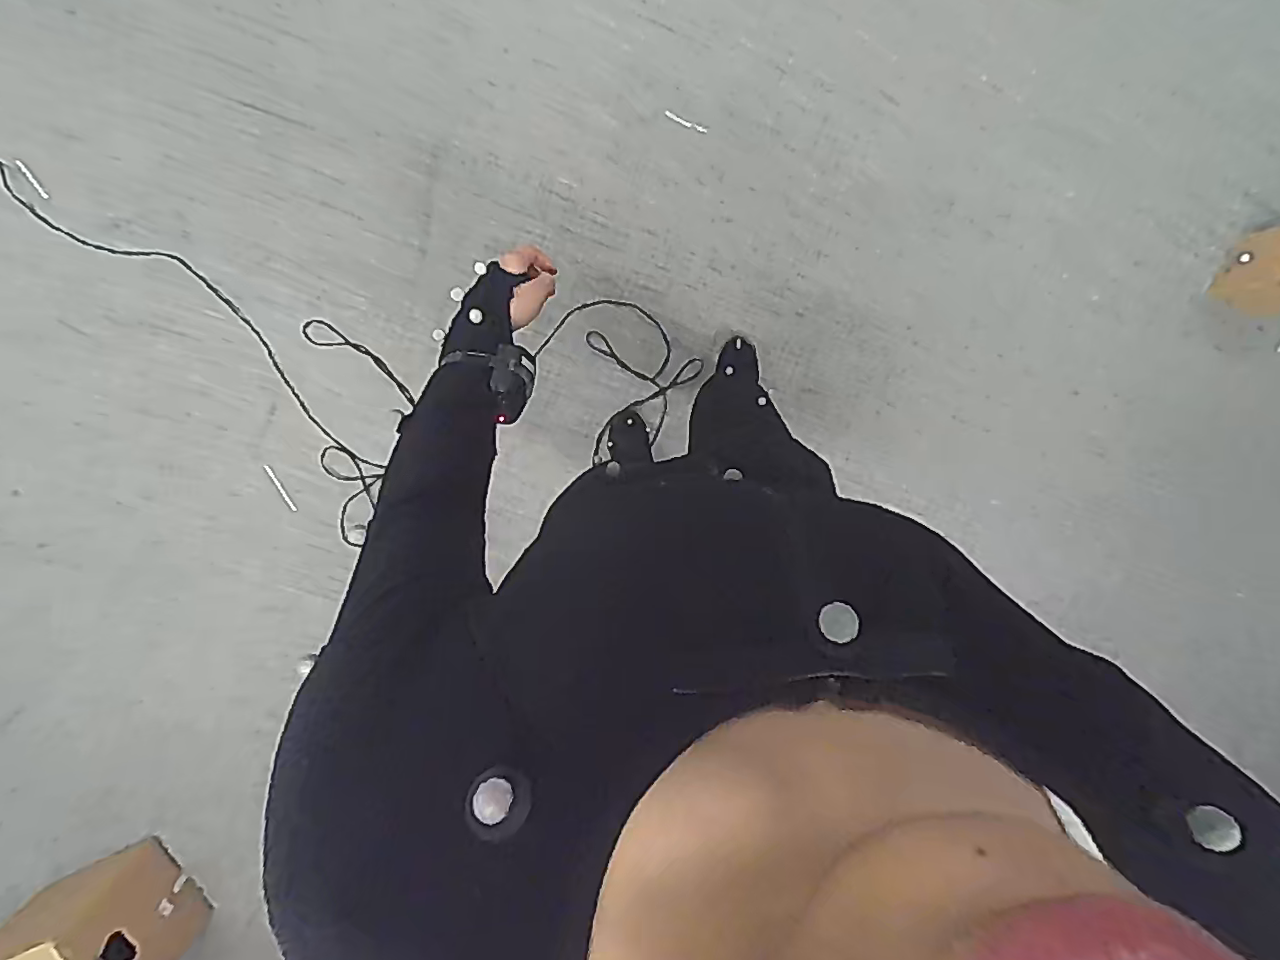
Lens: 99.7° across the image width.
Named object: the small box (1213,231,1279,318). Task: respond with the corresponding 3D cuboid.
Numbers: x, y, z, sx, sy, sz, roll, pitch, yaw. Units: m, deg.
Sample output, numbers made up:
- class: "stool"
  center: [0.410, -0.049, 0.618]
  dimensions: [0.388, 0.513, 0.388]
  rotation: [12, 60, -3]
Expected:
- class: "small box"
  center: [1.649, -0.525, 1.374]
  dimensions: [0.179, 0.176, 0.168]
  rotation: [24, 98, -7]
